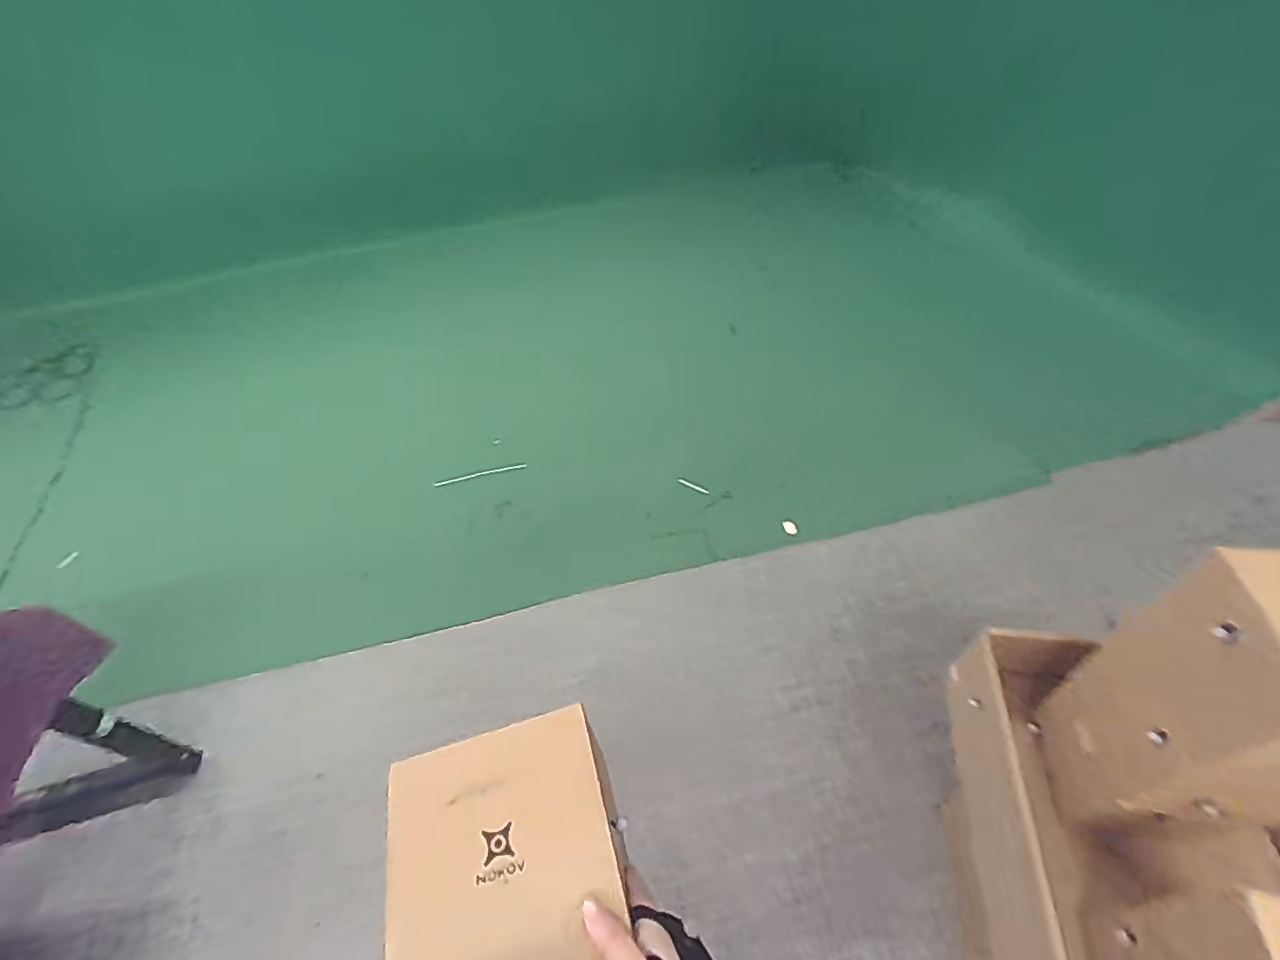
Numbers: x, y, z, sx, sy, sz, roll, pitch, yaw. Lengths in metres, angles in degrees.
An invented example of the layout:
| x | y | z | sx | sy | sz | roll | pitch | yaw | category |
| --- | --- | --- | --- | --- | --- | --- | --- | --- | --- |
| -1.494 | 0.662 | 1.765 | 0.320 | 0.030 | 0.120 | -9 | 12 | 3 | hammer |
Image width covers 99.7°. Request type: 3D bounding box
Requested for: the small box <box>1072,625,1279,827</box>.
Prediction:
| x | y | z | sx | sy | sz | roll | pitch | yaw | category |
| --- | --- | --- | --- | --- | --- | --- | --- | --- | --- |
| 0.693 | 0.307 | 0.678 | 0.168 | 0.176 | 0.179 | 3 | 50 | 11 | small box |

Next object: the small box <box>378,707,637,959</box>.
| x | y | z | sx | sy | sz | roll | pitch | yaw | category |
| --- | --- | --- | --- | --- | --- | --- | --- | --- | --- |
| -0.105 | 0.329 | 0.464 | 0.168 | 0.176 | 0.179 | -15 | 48 | -9 | small box |

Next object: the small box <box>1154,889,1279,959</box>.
| x | y | z | sx | sy | sz | roll | pitch | yaw | category |
| --- | --- | --- | --- | --- | --- | --- | --- | --- | --- |
| 0.628 | 0.513 | 0.496 | 0.179 | 0.176 | 0.168 | 9 | 50 | 16 | small box |
